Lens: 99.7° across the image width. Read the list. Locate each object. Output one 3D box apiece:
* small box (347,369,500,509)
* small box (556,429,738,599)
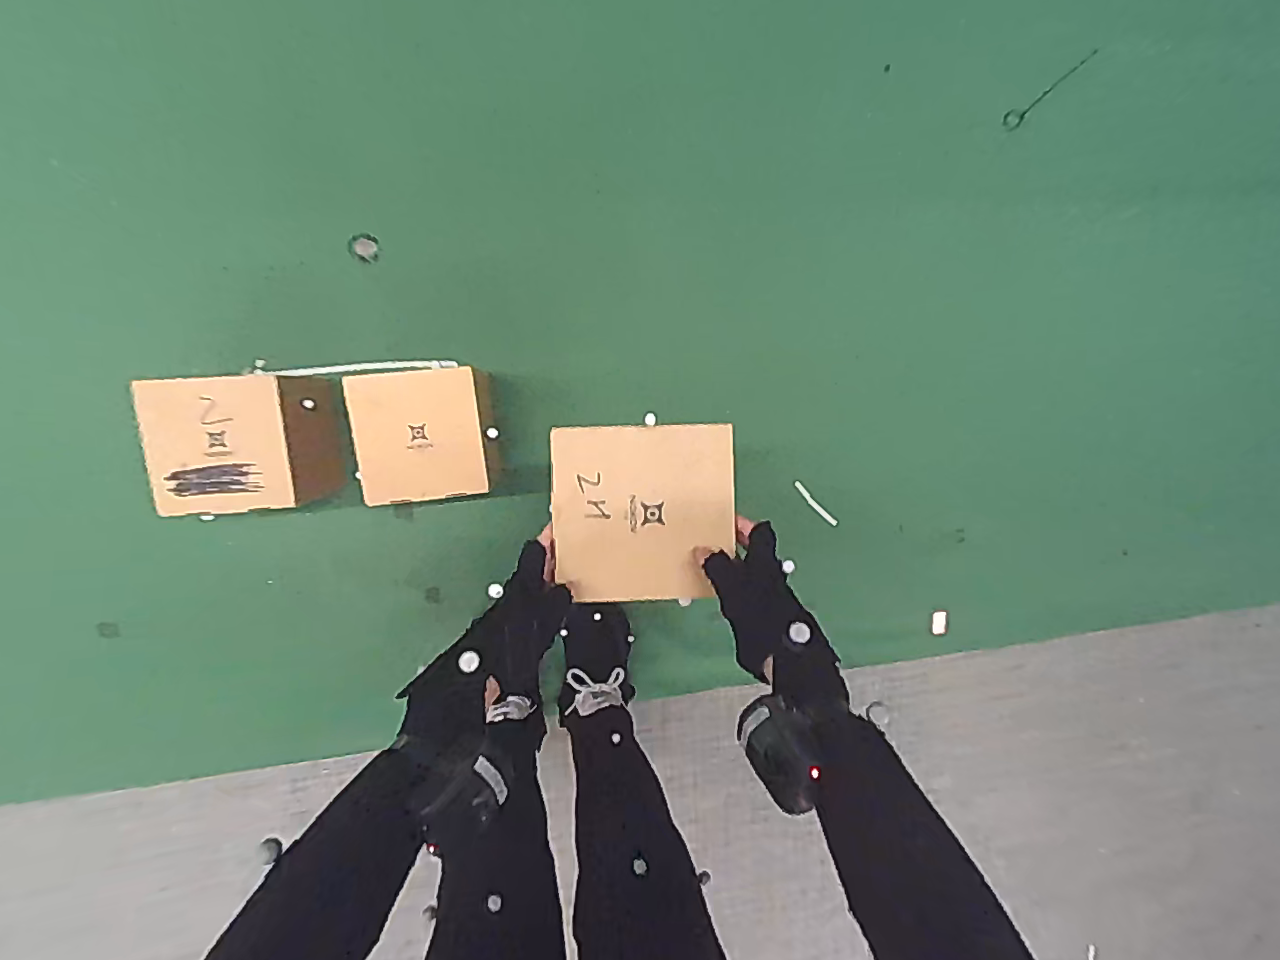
[{"bbox_3d":[-0.306,-0.066,0.801,0.168,0.176,0.179,-7,101,-8],"label":"small box"},{"bbox_3d":[0.003,0.032,0.598,0.179,0.176,0.168,-1,90,-2],"label":"small box"}]
